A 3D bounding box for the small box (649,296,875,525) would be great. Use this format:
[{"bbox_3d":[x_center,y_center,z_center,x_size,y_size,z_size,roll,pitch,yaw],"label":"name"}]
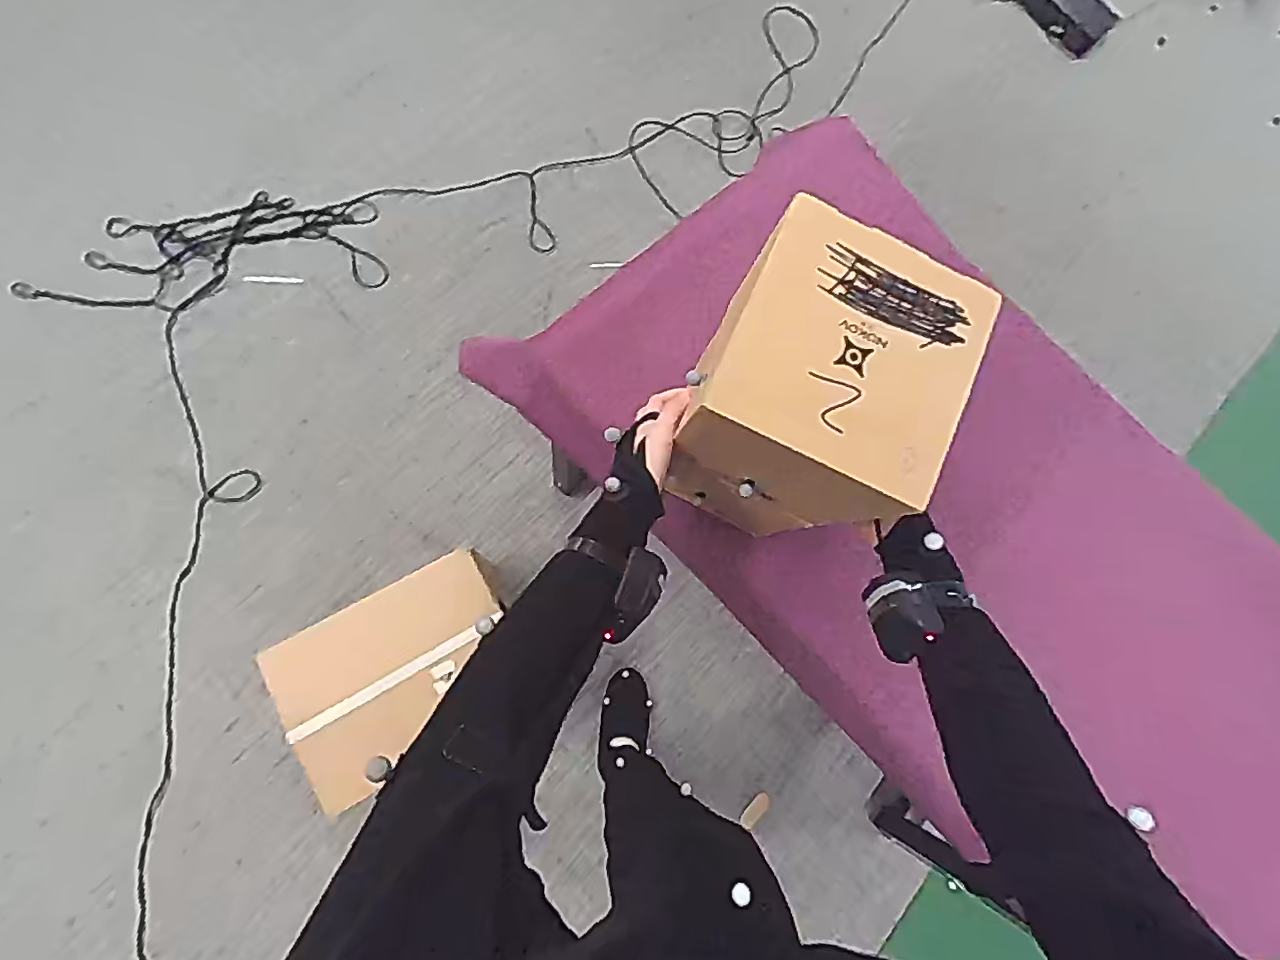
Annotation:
[{"bbox_3d":[0.122,-0.063,0.608,0.168,0.176,0.179,27,80,-2],"label":"small box"}]
